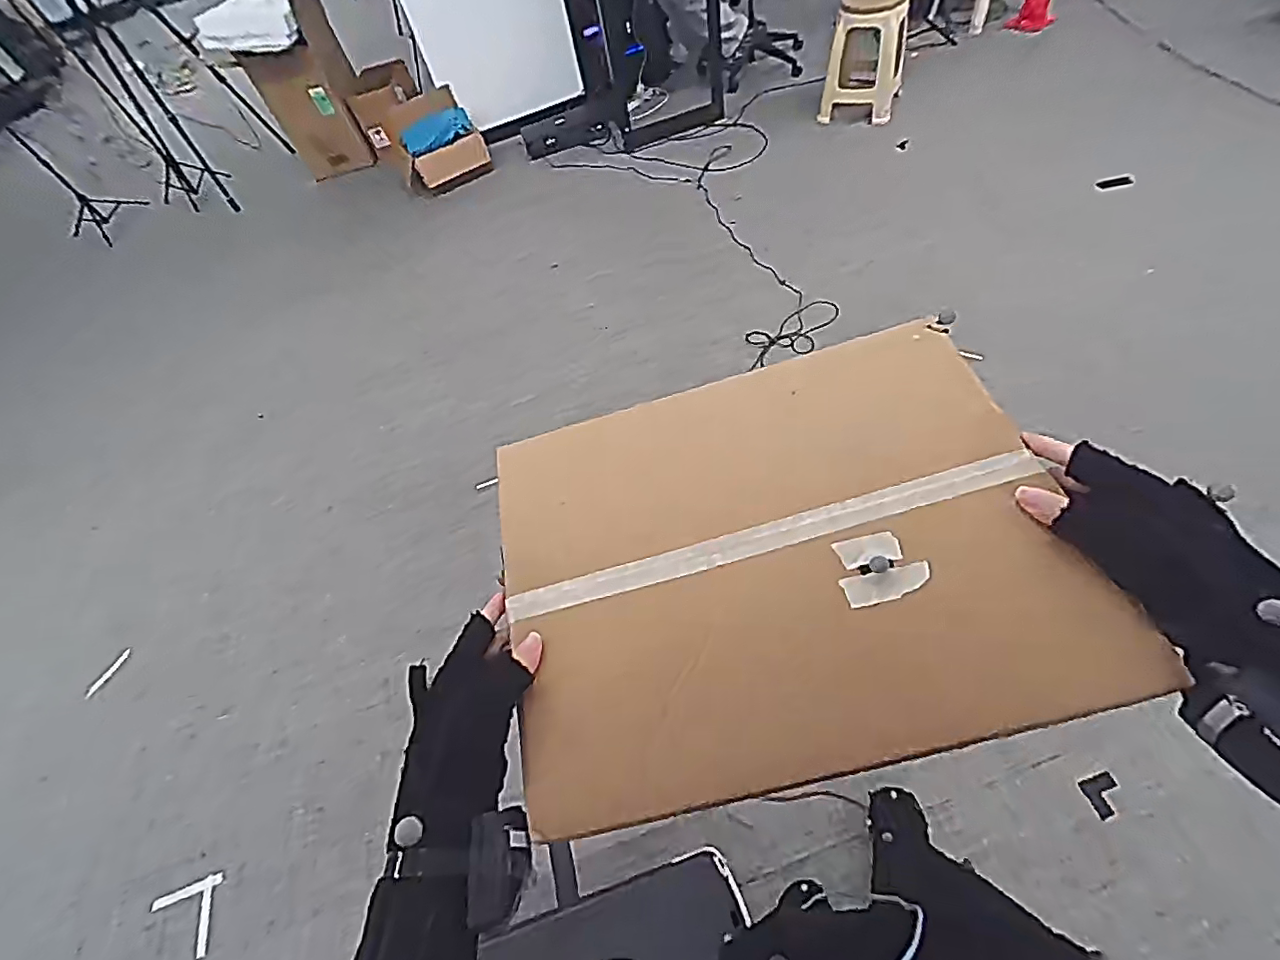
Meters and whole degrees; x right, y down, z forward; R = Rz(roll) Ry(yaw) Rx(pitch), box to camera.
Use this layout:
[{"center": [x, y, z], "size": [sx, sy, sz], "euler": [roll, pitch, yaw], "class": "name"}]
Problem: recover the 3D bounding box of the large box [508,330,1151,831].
[{"center": [0.125, 0.120, 0.547], "size": [0.408, 0.320, 0.320], "euler": [-17, 59, 4], "class": "large box"}]
